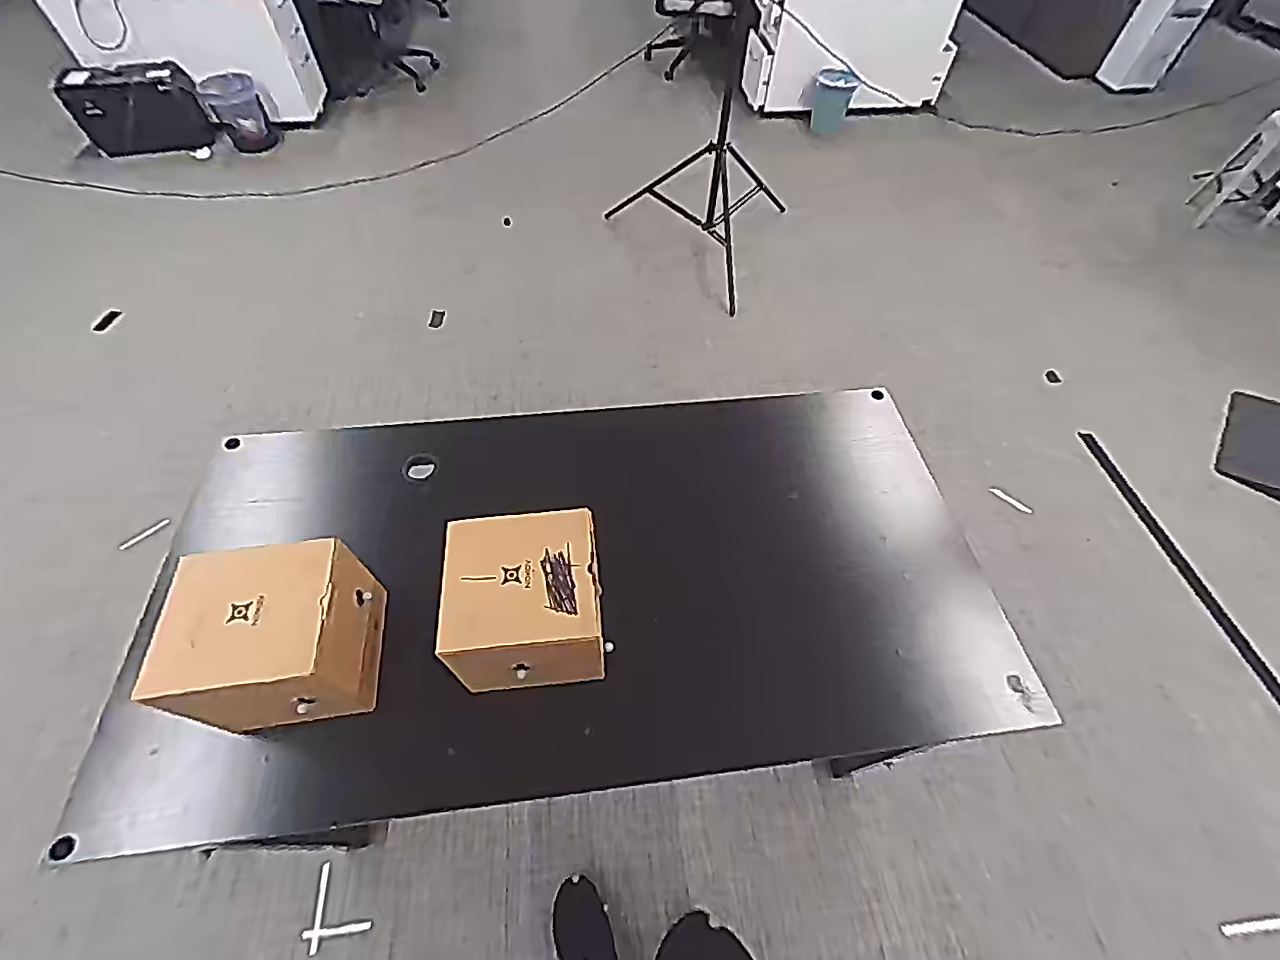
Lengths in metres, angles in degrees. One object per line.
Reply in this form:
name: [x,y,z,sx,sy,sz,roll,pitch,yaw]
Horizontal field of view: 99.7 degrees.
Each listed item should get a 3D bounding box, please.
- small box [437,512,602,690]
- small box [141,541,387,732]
small box: [-0.140,0.159,0.692,0.179,0.176,0.168,-5,55,-4]
small box: [-0.431,0.194,0.661,0.179,0.176,0.168,-8,55,-6]
